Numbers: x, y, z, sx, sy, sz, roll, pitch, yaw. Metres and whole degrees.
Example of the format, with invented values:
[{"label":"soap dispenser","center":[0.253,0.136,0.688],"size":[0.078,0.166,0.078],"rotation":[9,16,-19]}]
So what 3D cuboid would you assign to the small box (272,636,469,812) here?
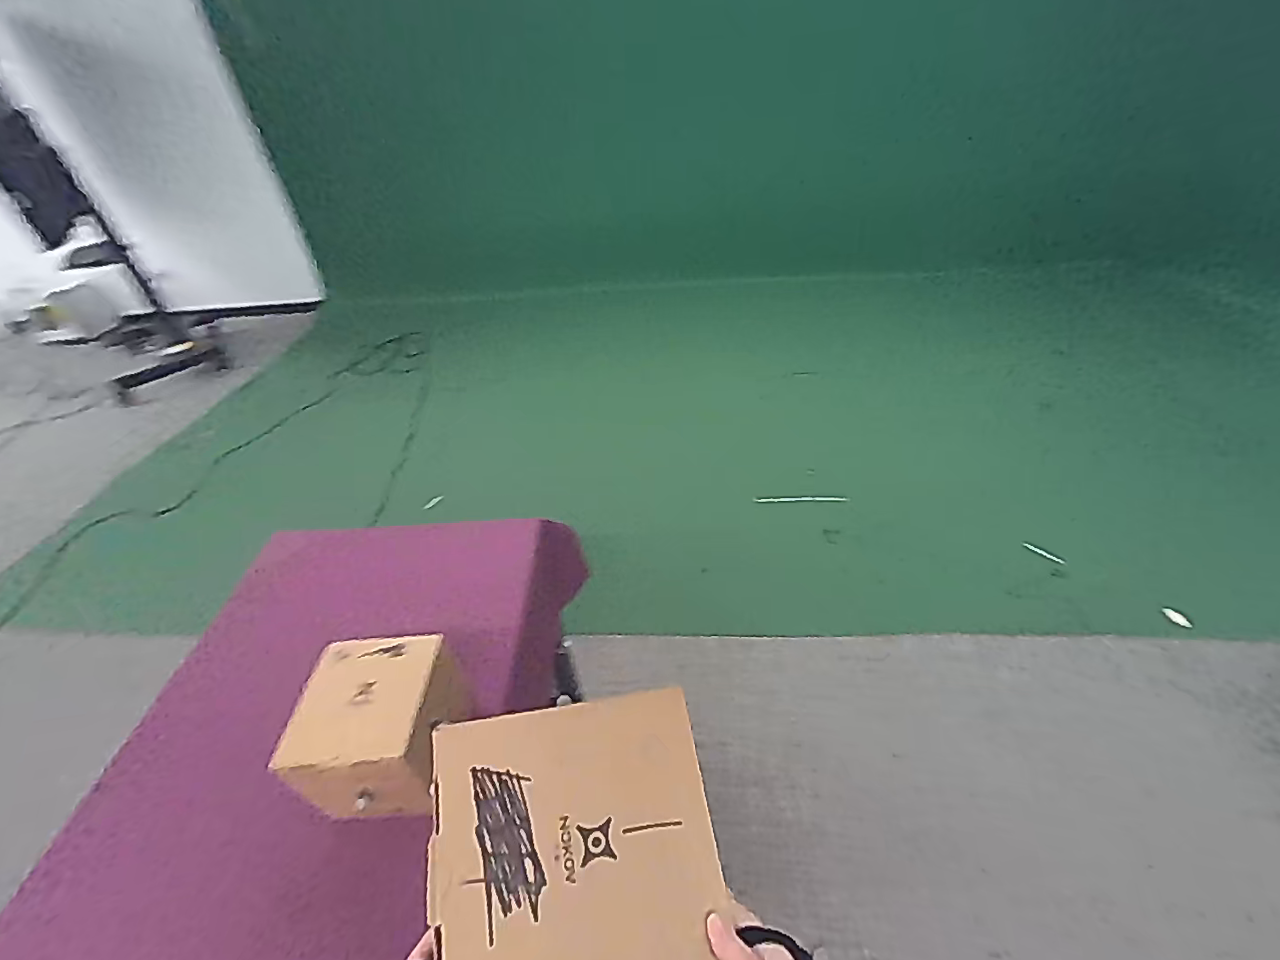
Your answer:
[{"label":"small box","center":[-0.355,0.345,0.757],"size":[0.168,0.176,0.179],"rotation":[-5,40,2]}]

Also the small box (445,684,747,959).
[{"label":"small box","center":[-0.047,0.265,0.408],"size":[0.179,0.176,0.168],"rotation":[-3,62,-16]}]
